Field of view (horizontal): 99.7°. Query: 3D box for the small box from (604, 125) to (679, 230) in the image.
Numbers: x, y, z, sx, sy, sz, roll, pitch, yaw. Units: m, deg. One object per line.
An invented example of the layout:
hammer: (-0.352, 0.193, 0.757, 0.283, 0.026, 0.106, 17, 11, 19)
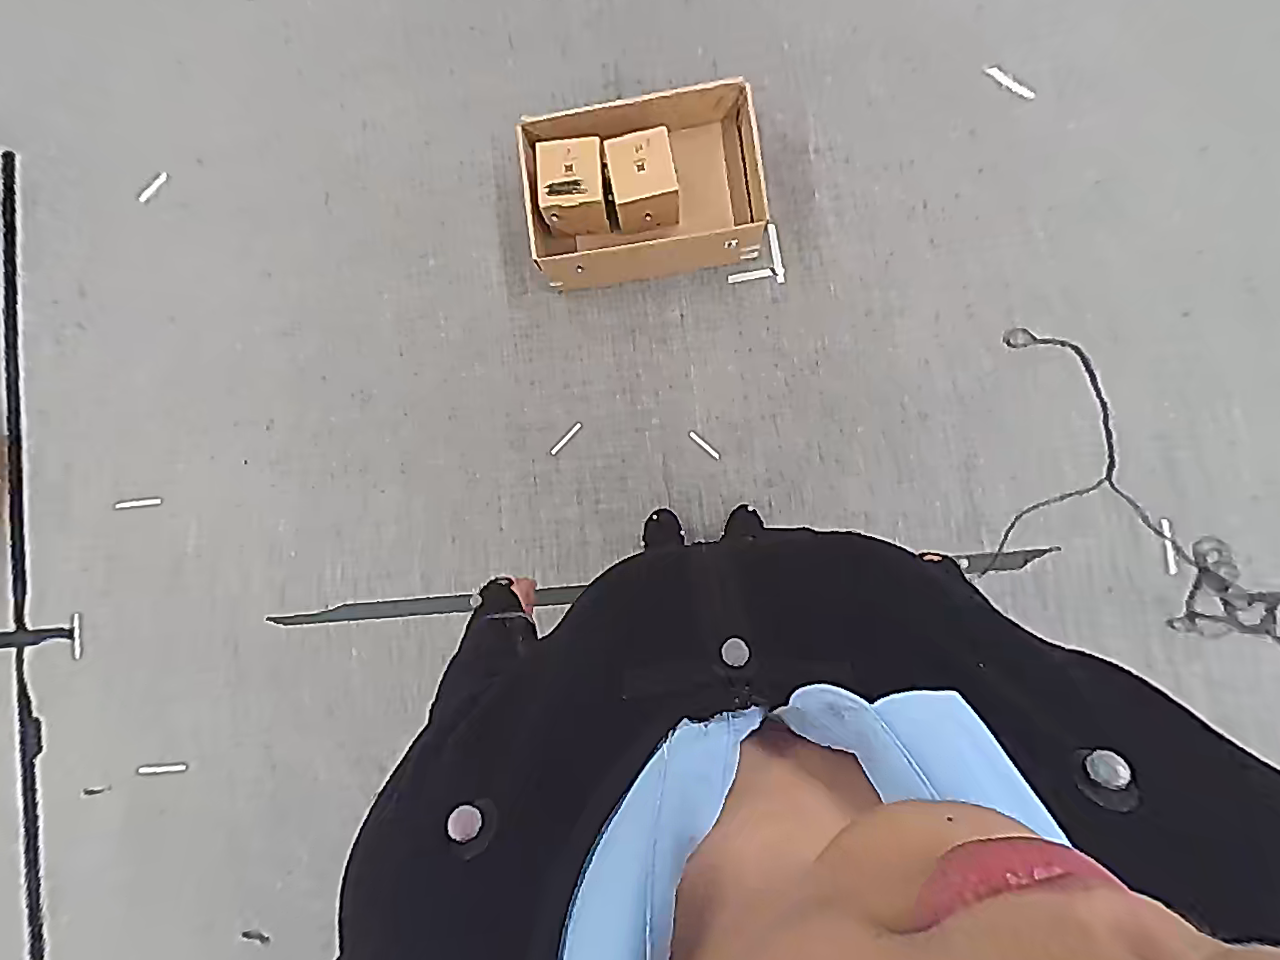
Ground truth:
small box: (0.010, -0.796, 1.448, 0.168, 0.176, 0.179, -11, 86, 4)
